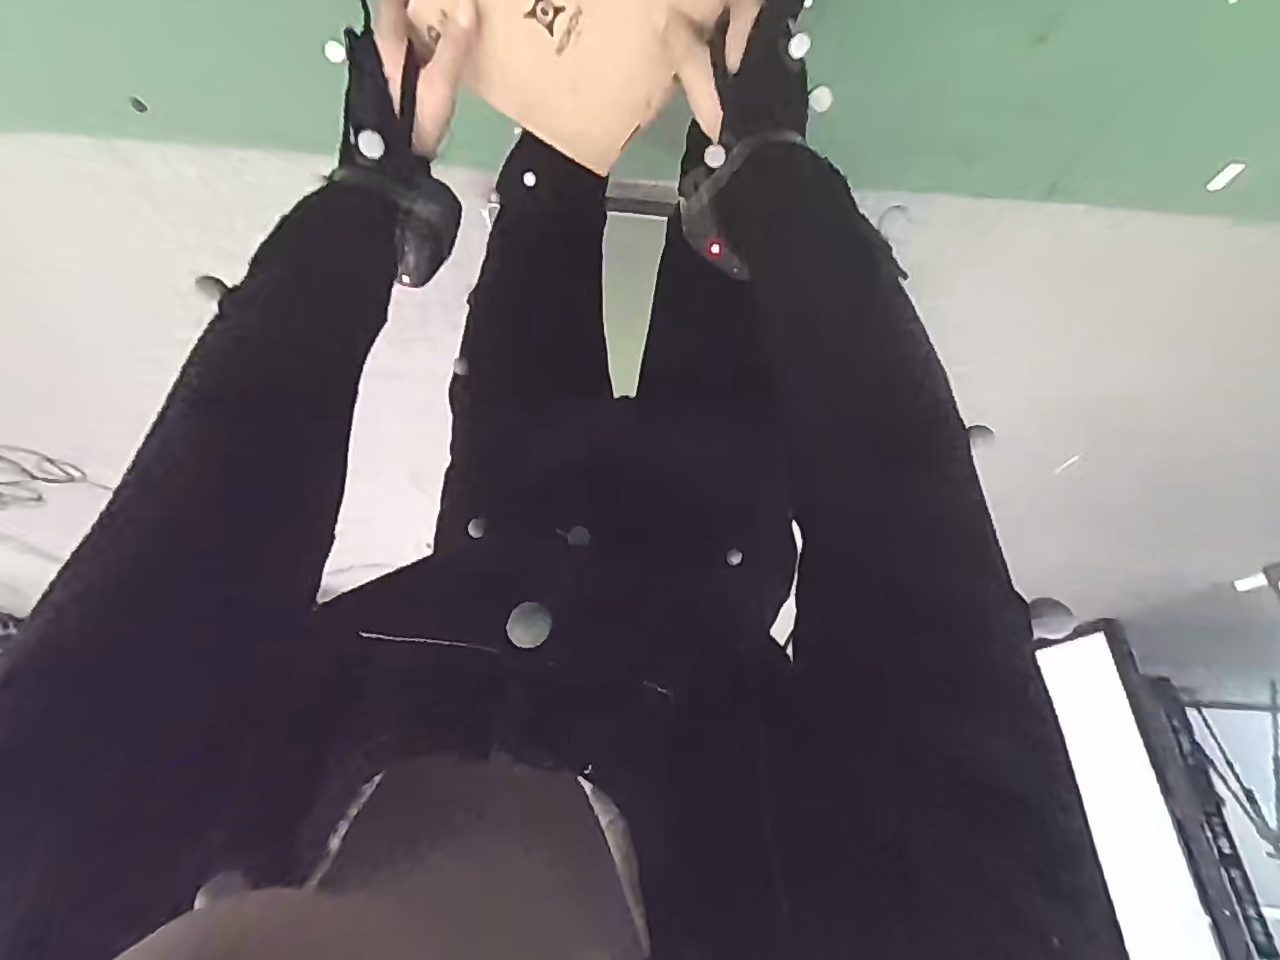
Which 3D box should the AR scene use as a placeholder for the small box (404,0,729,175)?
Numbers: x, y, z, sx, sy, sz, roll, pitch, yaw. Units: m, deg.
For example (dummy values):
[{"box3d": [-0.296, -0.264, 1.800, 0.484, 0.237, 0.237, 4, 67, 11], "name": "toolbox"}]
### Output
[{"box3d": [-0.048, -0.385, 0.400, 0.179, 0.176, 0.168, 19, 154, -29], "name": "small box"}]
